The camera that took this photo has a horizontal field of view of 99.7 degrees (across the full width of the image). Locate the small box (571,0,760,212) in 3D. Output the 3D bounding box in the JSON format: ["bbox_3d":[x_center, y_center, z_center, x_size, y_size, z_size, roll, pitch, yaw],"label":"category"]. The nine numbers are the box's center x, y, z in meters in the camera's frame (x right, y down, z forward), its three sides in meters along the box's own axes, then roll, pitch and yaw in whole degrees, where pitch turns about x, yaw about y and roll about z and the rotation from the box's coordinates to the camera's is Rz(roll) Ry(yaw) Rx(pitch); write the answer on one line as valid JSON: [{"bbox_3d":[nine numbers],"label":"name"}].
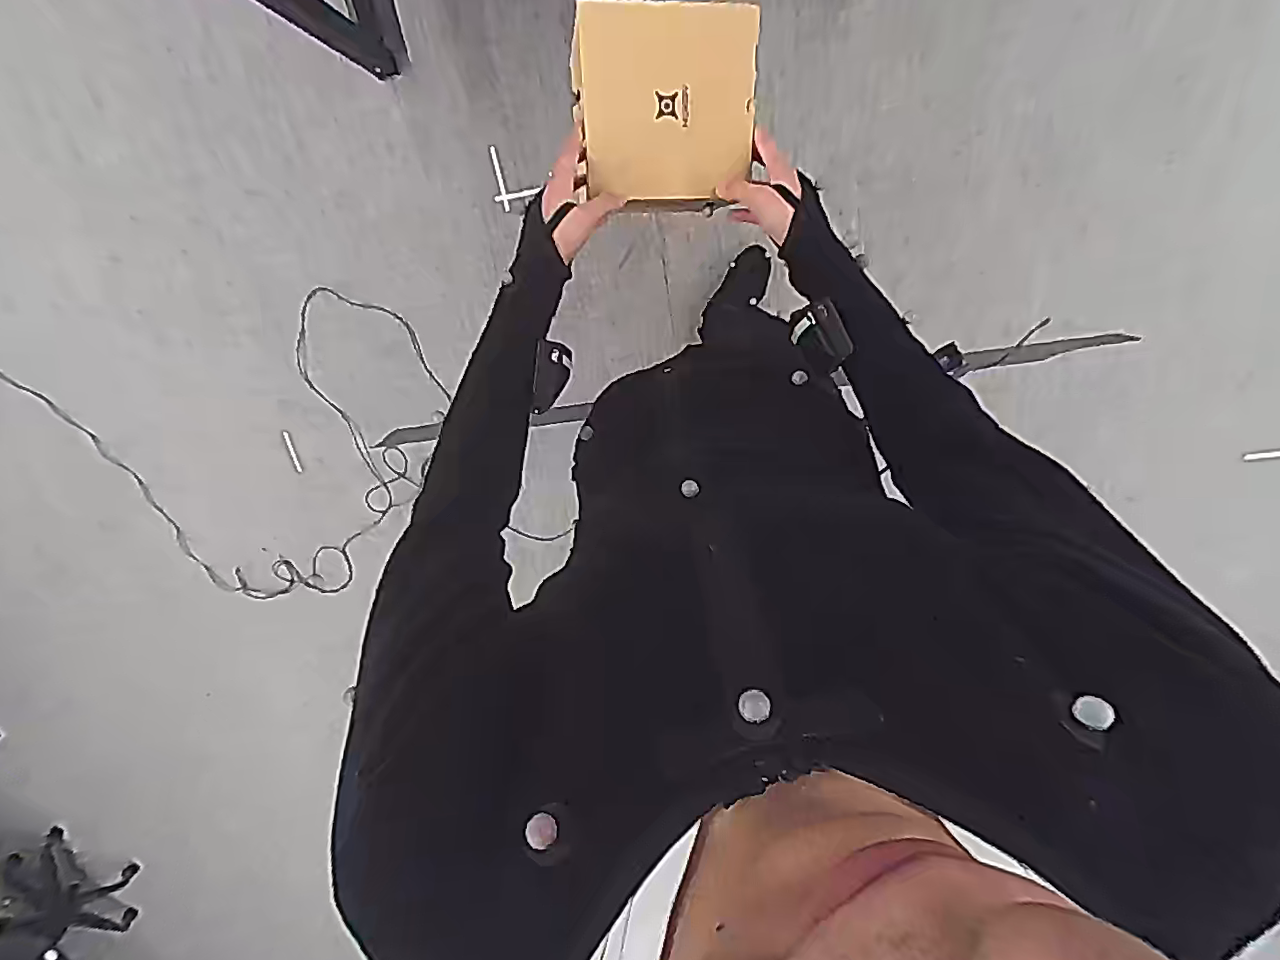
[{"bbox_3d":[0.016,-0.395,0.596,0.179,0.176,0.168,-6,113,-9],"label":"small box"}]

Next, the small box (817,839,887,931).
[{"bbox_3d":[0.667,1.279,1.711,0.168,0.176,0.179,-9,110,6],"label":"small box"}]

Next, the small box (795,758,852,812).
[{"bbox_3d":[0.687,1.179,2.024,0.168,0.176,0.179,-11,110,7],"label":"small box"}]
